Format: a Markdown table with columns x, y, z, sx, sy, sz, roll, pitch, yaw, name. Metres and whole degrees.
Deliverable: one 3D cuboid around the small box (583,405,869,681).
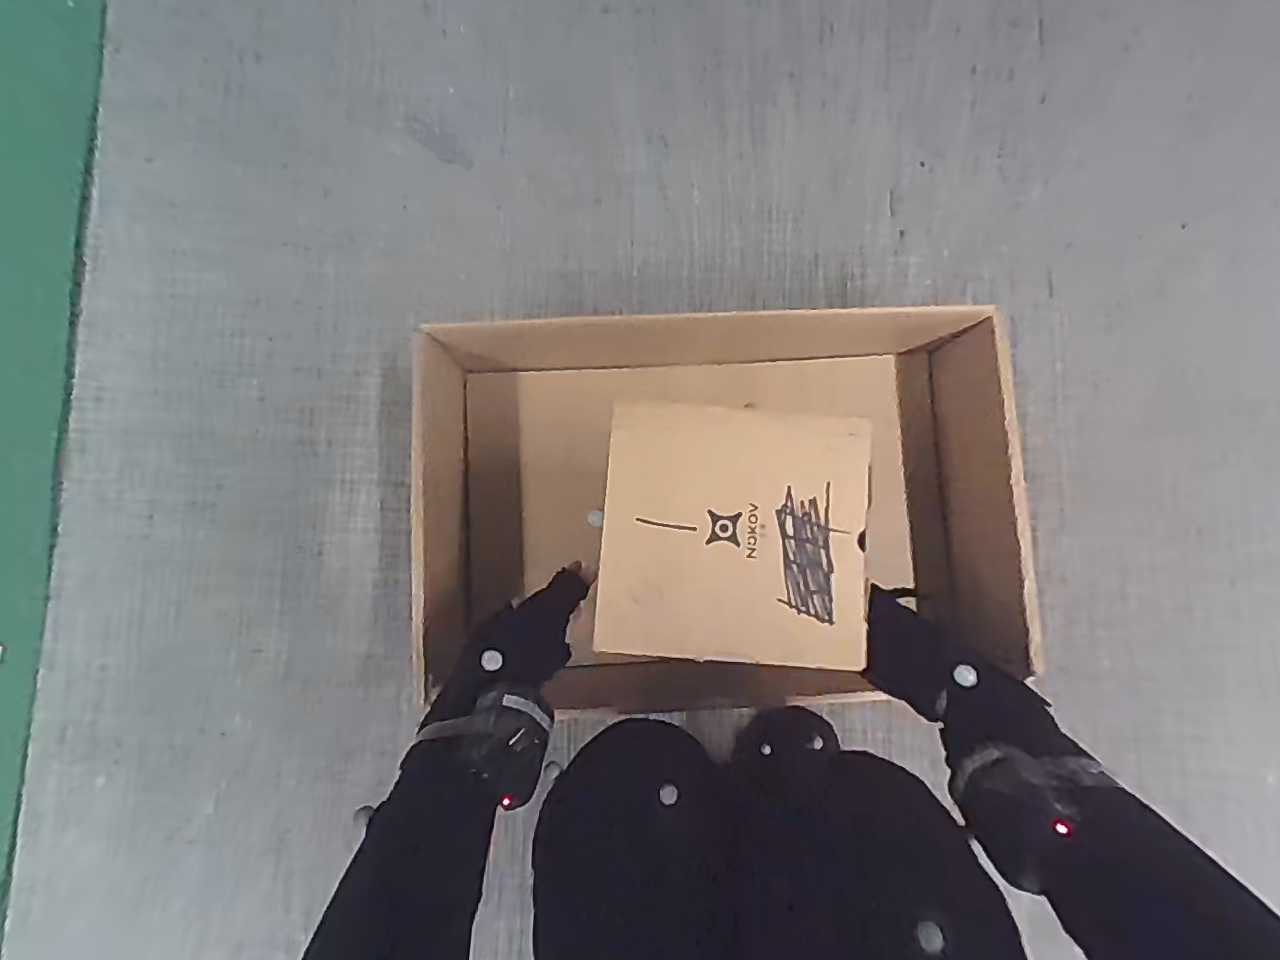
| x | y | z | sx | sy | sz | roll | pitch | yaw | name |
| --- | --- | --- | --- | --- | --- | --- | --- | --- | --- |
| 0.058 | 0.047 | 0.431 | 0.179 | 0.176 | 0.168 | 6 | 83 | 0 | small box |
